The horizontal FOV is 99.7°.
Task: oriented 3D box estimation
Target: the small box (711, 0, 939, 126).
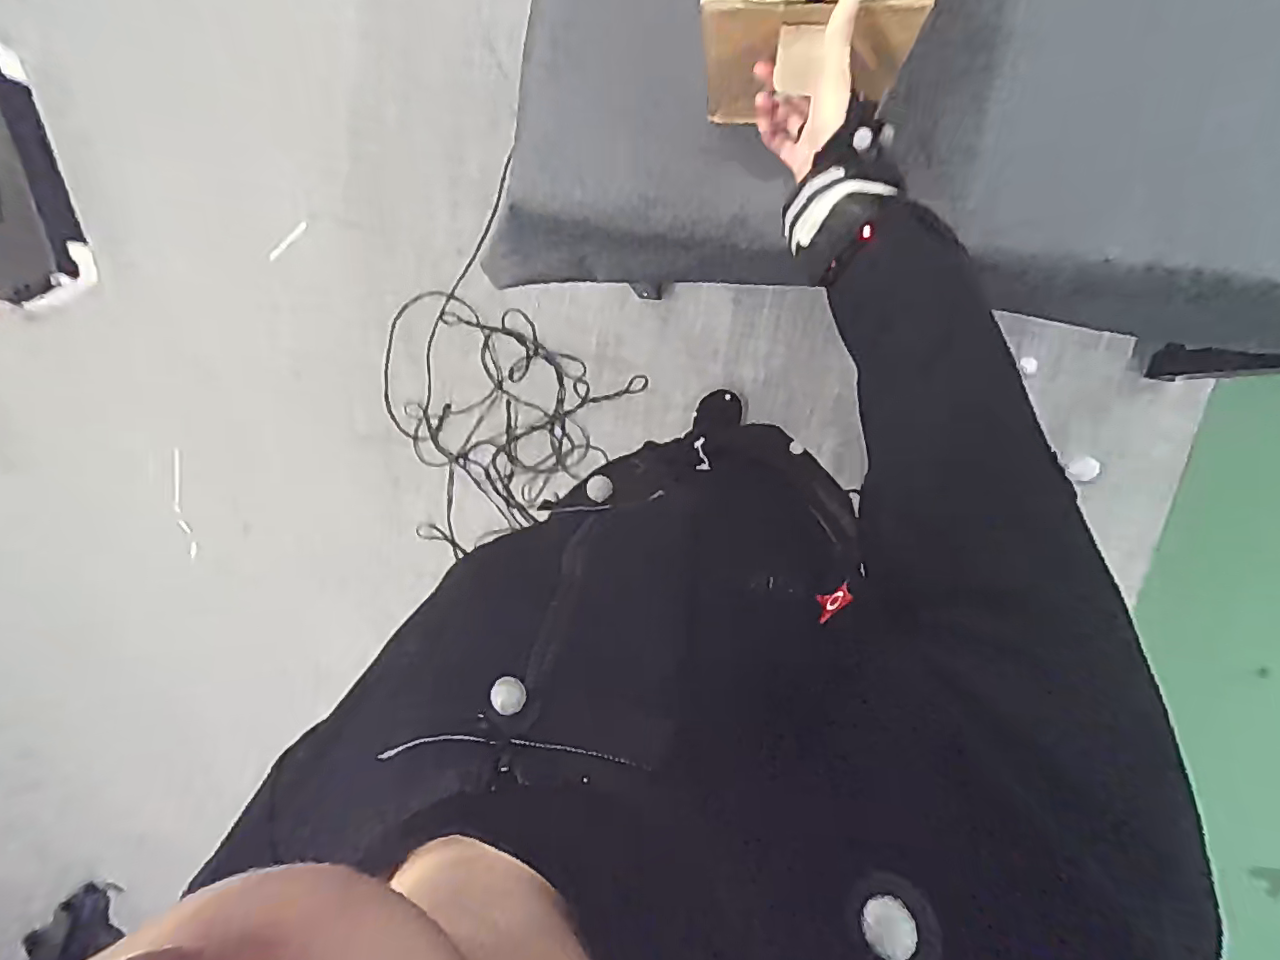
[{"bbox_3d":[0.150,-0.439,0.460,0.168,0.176,0.179,5,99,8],"label":"small box"}]
